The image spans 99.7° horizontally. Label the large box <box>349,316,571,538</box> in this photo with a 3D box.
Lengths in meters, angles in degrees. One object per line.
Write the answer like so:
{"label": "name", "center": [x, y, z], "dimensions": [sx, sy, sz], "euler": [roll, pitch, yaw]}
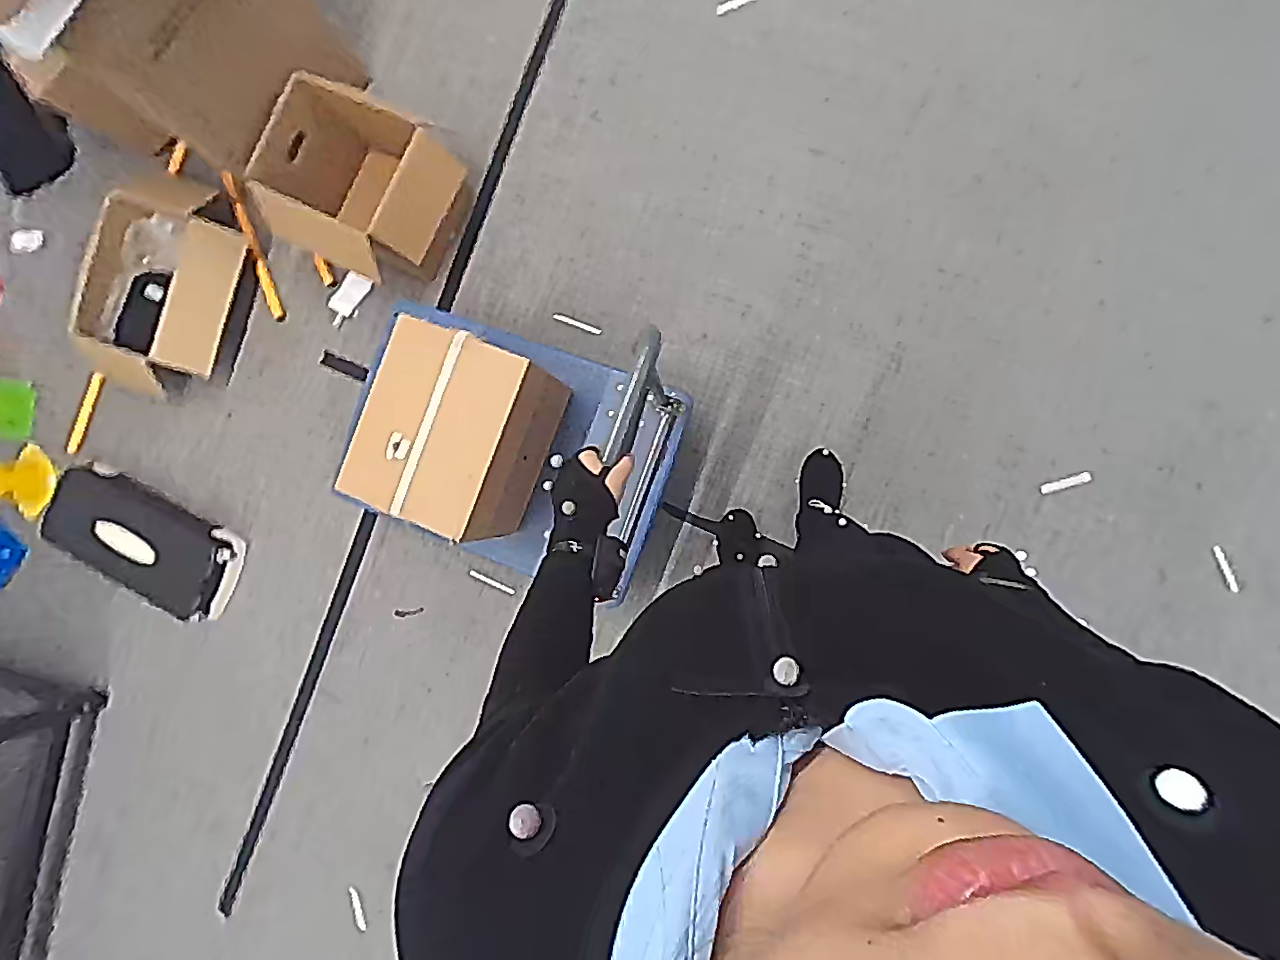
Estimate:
{"label": "large box", "center": [-0.402, -0.115, 1.285], "dimensions": [0.320, 0.320, 0.408], "euler": [21, 92, 11]}
